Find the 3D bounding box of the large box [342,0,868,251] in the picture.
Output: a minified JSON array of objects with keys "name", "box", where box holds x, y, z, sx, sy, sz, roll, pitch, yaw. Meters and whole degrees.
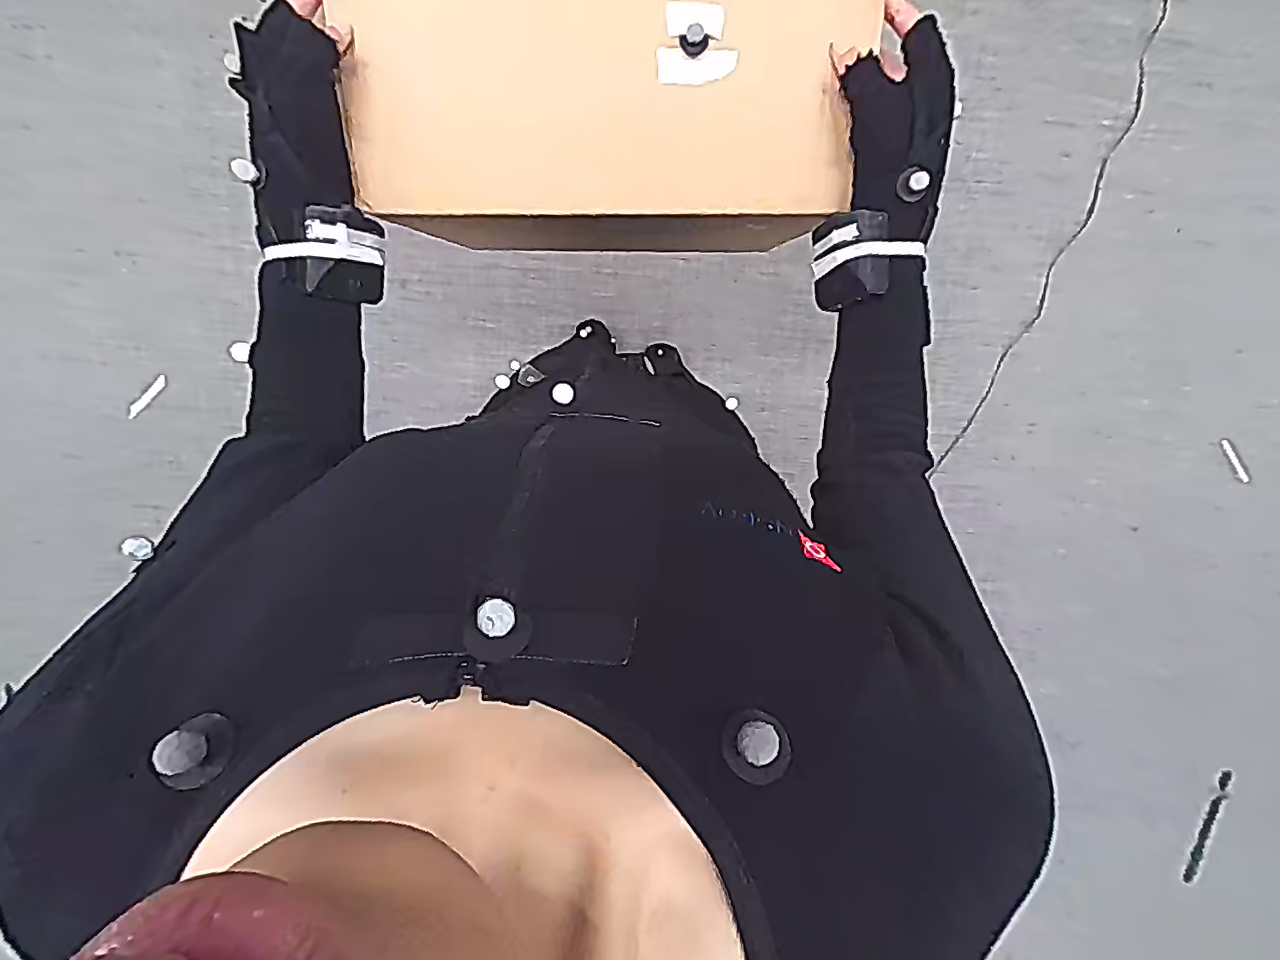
[{"name":"large box","box":[-0.028,-0.417,0.545,0.408,0.320,0.320,0,108,-1]}]
